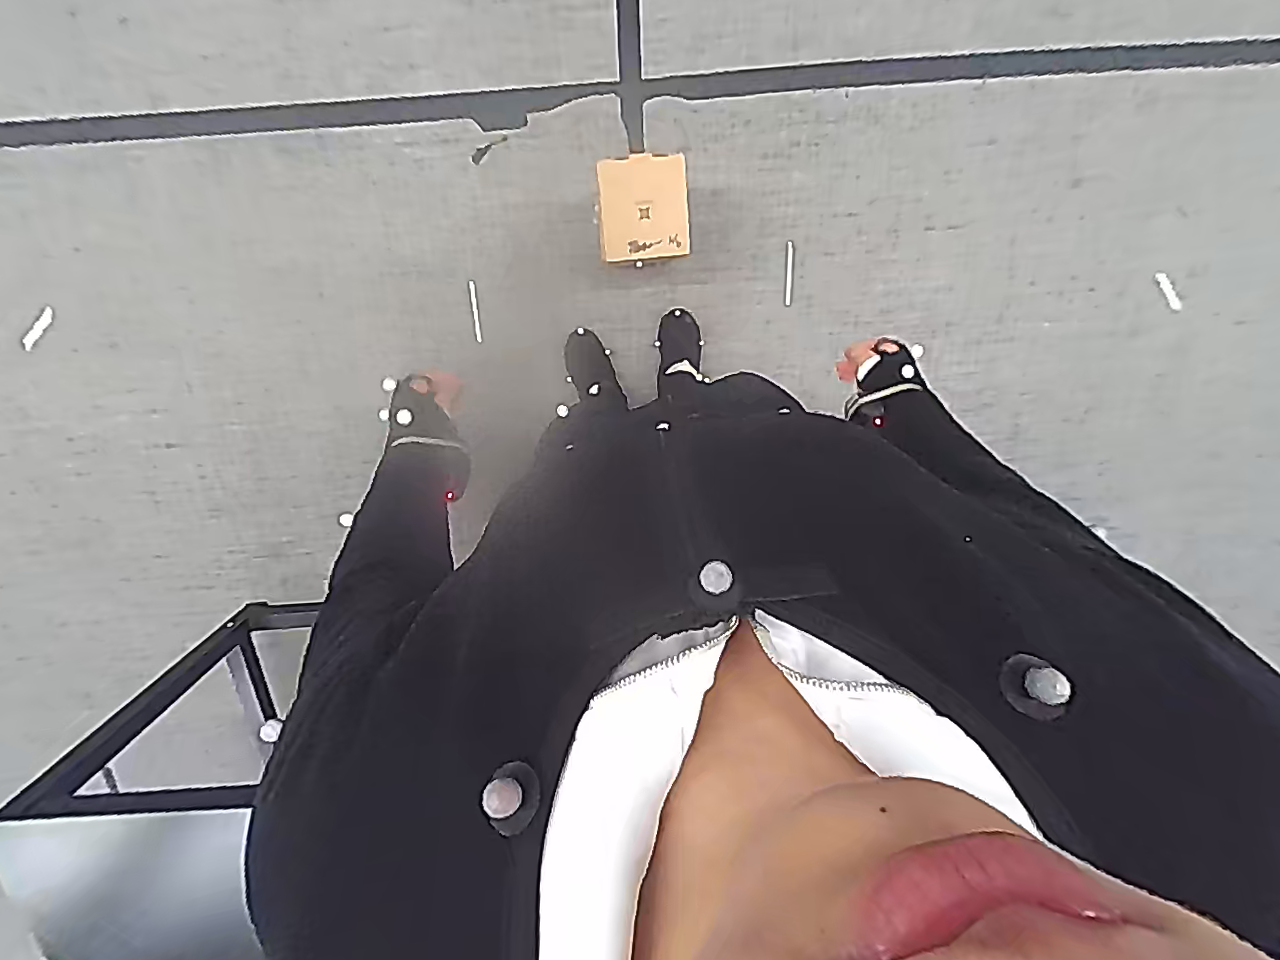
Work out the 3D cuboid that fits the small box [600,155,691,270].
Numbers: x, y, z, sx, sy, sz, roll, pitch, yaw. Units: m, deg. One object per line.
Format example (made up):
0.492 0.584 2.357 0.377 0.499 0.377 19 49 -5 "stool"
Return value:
0.008 -0.532 1.095 0.168 0.176 0.179 -6 108 0 "small box"
